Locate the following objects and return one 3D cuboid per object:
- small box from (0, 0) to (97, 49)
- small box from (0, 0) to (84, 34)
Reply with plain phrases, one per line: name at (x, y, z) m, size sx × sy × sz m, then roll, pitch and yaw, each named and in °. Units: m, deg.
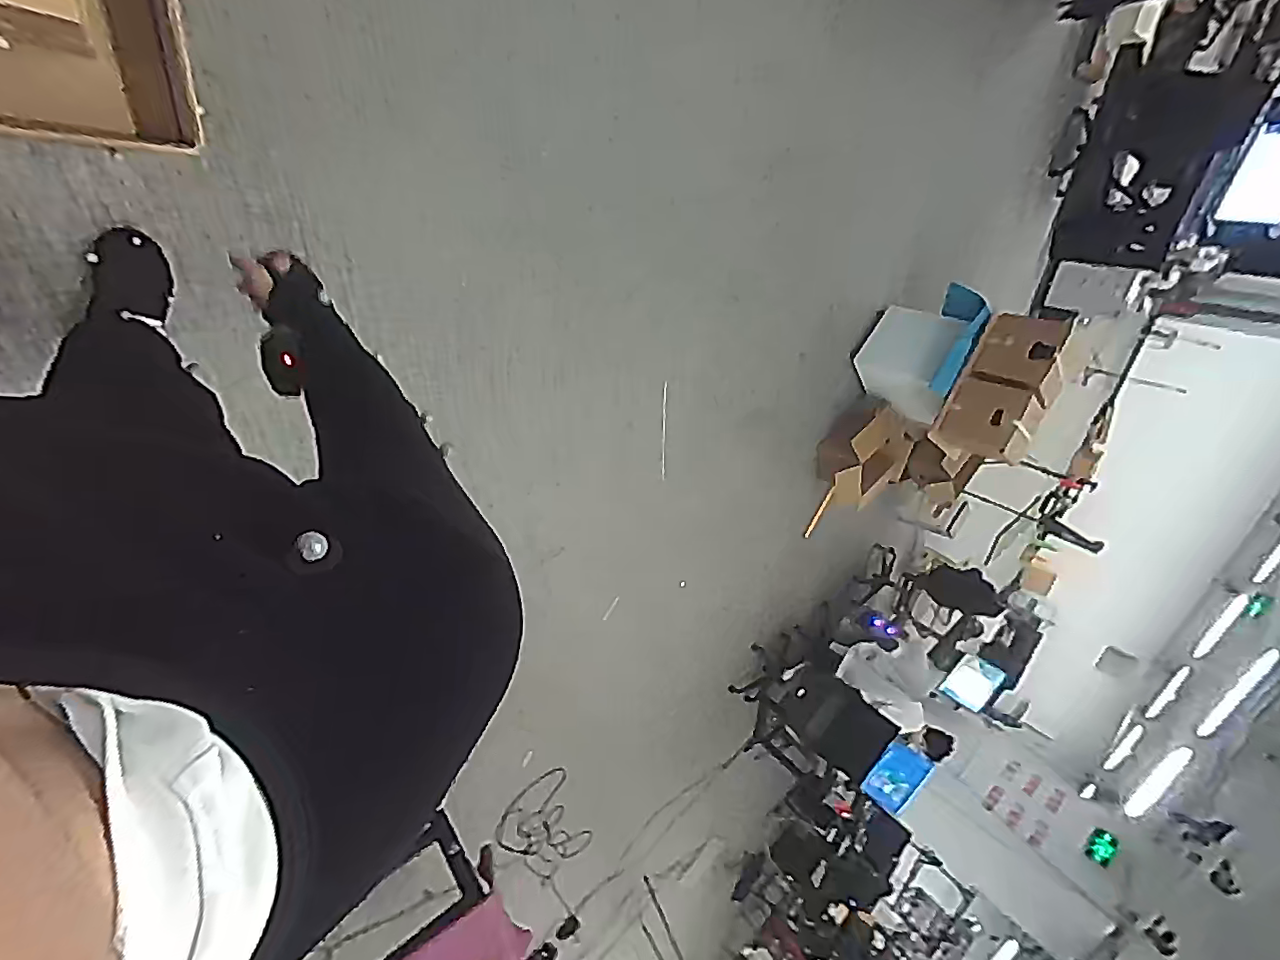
small box at (-0.720, -0.604, 0.584) m, size 0.168 × 0.176 × 0.179 m, roll -10°, pitch 122°, yaw -38°
small box at (-0.625, -0.532, 0.473) m, size 0.168 × 0.176 × 0.179 m, roll -11°, pitch 122°, yaw -38°
